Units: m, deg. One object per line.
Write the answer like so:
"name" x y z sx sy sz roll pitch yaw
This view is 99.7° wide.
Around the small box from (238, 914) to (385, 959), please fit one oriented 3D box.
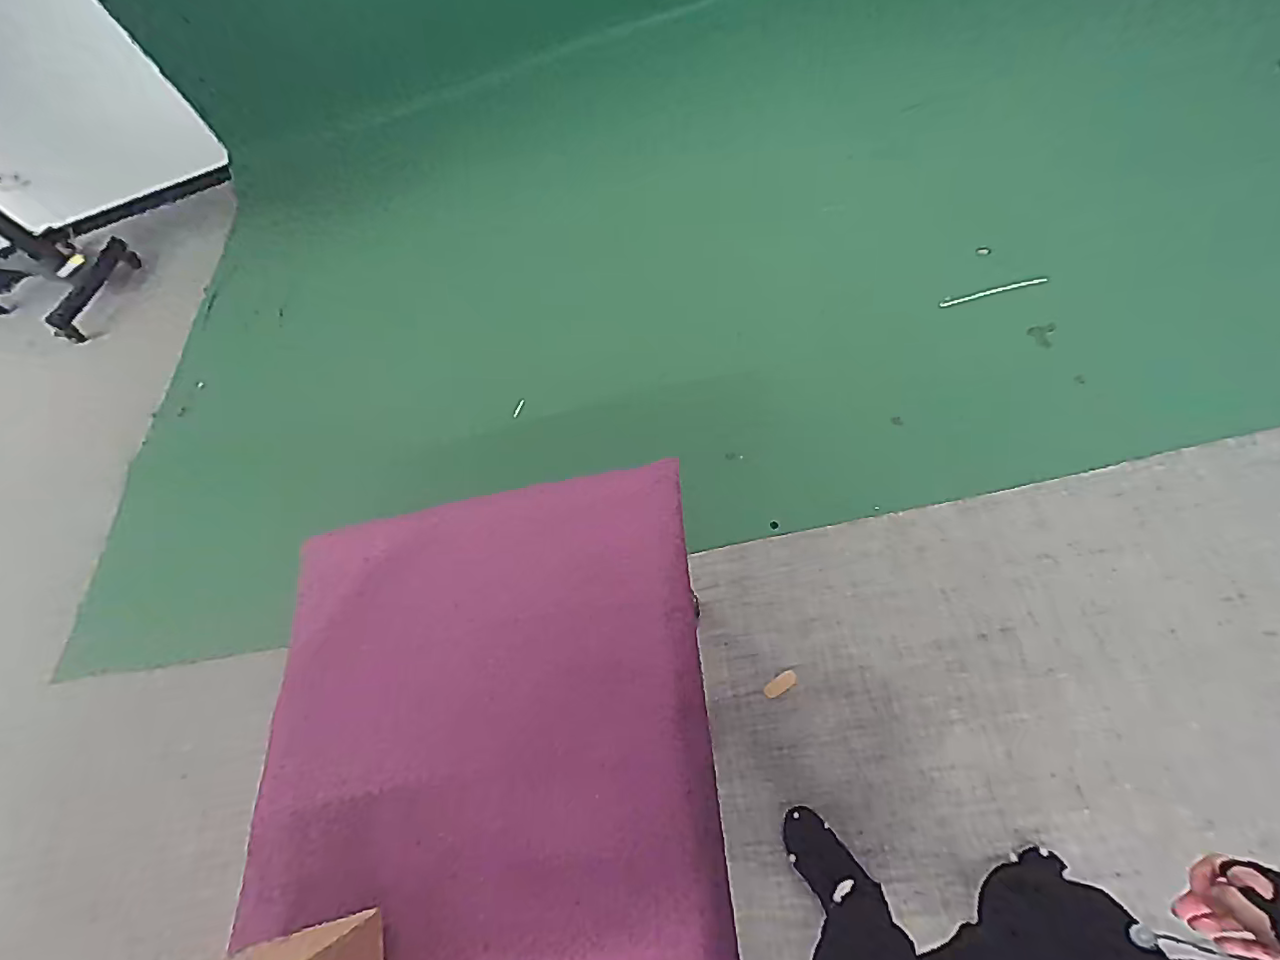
"small box" -0.364 0.580 0.530 0.168 0.176 0.179 -16 69 -4
